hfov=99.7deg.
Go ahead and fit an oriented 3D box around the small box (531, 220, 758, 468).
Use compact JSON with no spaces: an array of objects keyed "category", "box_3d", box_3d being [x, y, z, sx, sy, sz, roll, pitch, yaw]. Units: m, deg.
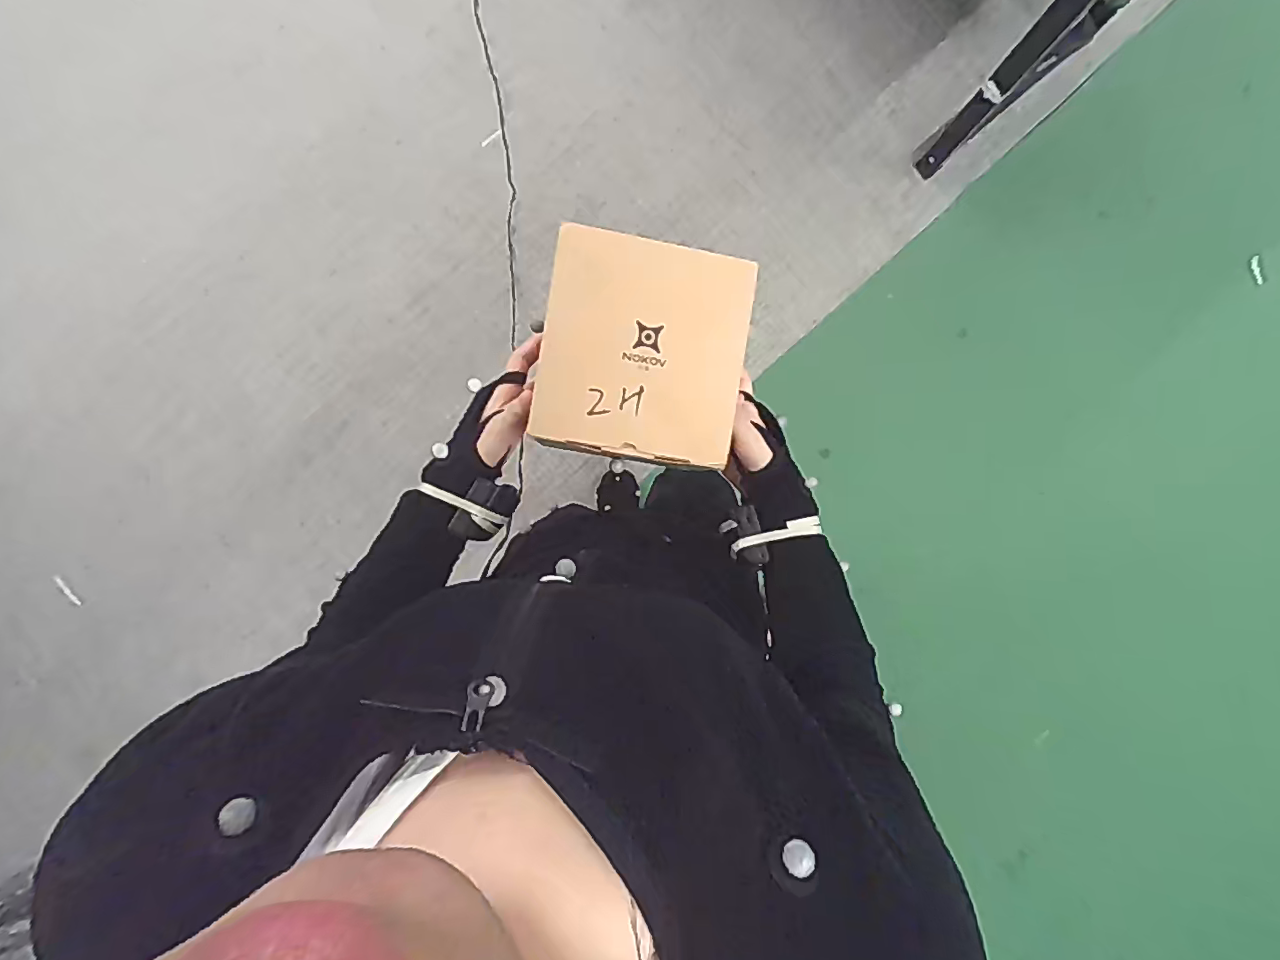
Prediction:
[{"category":"small box","box_3d":[-0.004,-0.111,0.519,0.168,0.176,0.179,10,91,-6]}]
